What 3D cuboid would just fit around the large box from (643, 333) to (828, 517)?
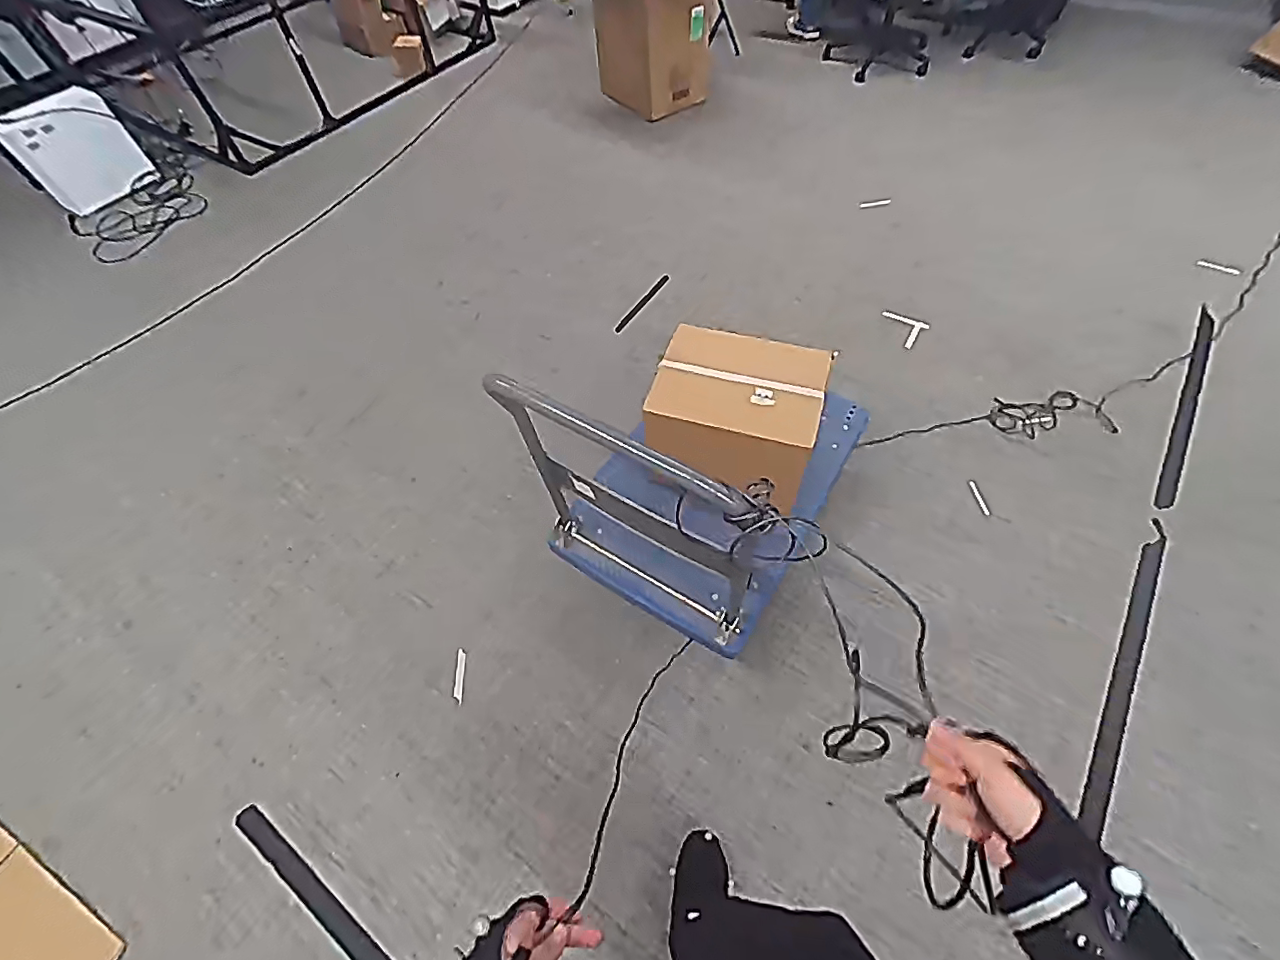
[{"bbox_3d":[0.242,-0.143,1.436,0.408,0.320,0.320,14,59,12],"label":"large box"}]
